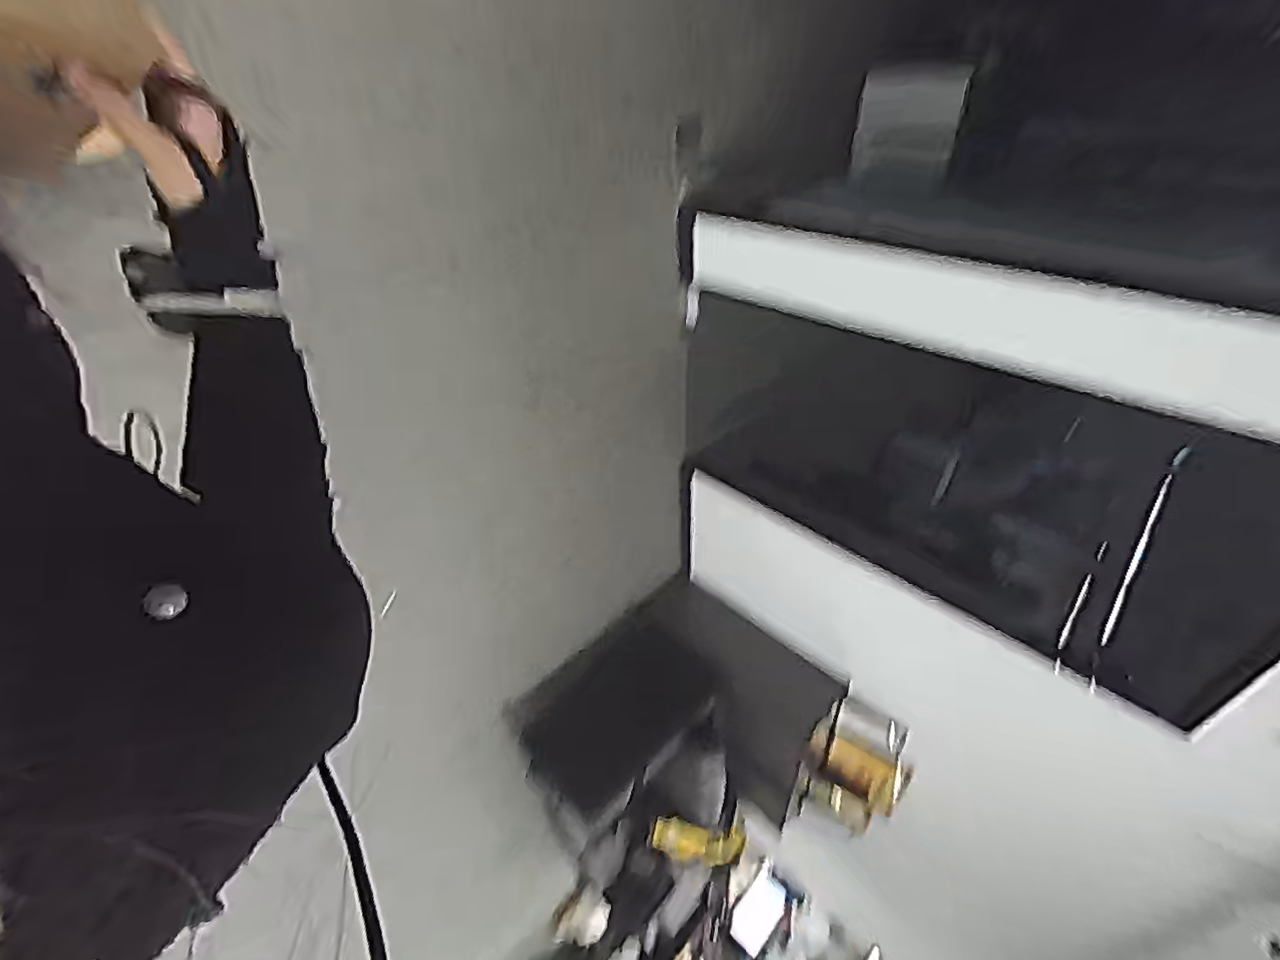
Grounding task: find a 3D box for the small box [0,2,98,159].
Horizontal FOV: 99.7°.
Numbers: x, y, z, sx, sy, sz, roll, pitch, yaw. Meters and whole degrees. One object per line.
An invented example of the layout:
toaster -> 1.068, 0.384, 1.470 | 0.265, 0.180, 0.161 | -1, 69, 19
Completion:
small box -> -0.981, -0.598, 0.813 | 0.168, 0.176, 0.179 | -35, 139, -31
